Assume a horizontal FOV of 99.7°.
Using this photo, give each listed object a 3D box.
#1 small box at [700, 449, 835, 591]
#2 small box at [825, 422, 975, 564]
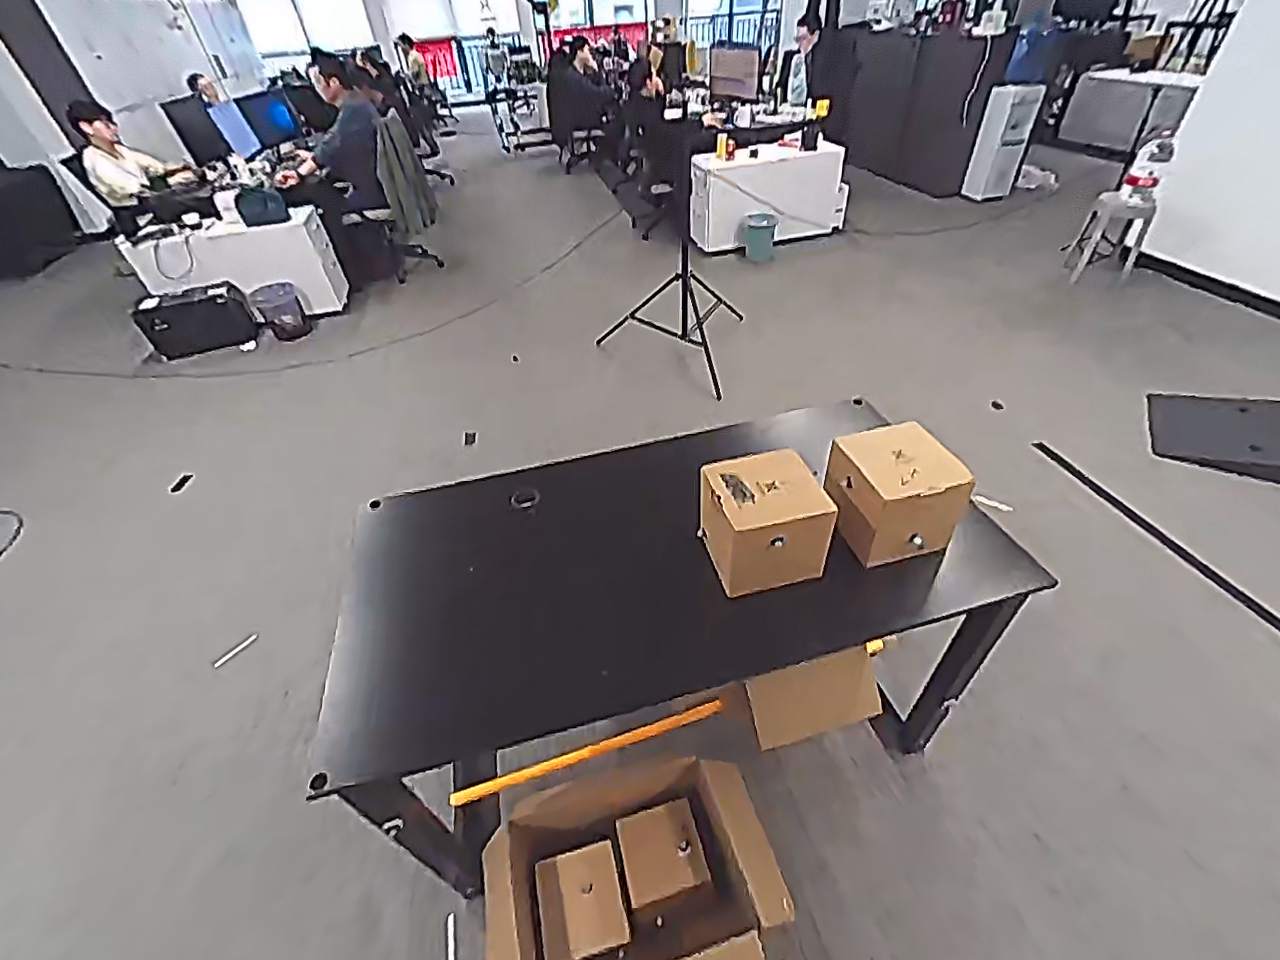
[{"bbox_3d":[0.212,0.073,0.947,0.179,0.176,0.168,-11,42,-8],"label":"small box"},{"bbox_3d":[0.451,0.023,0.977,0.168,0.176,0.179,-13,42,-6],"label":"small box"}]
